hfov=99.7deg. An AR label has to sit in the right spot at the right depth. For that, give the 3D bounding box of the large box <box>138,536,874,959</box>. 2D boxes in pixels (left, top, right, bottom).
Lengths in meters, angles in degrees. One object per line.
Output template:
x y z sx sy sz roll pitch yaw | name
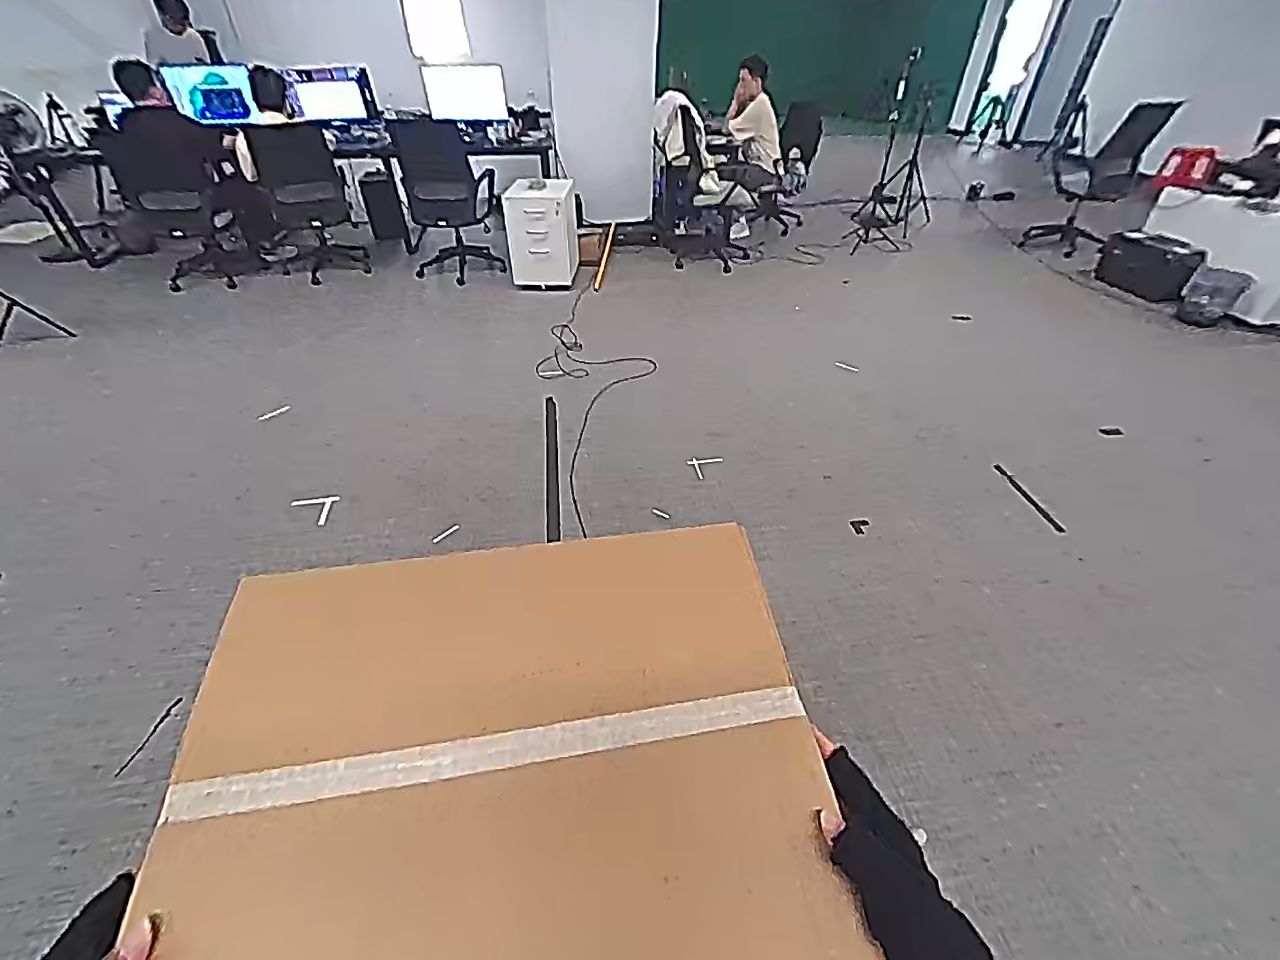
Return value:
-0.089 0.281 0.474 0.408 0.320 0.320 -6 51 -7 | large box
